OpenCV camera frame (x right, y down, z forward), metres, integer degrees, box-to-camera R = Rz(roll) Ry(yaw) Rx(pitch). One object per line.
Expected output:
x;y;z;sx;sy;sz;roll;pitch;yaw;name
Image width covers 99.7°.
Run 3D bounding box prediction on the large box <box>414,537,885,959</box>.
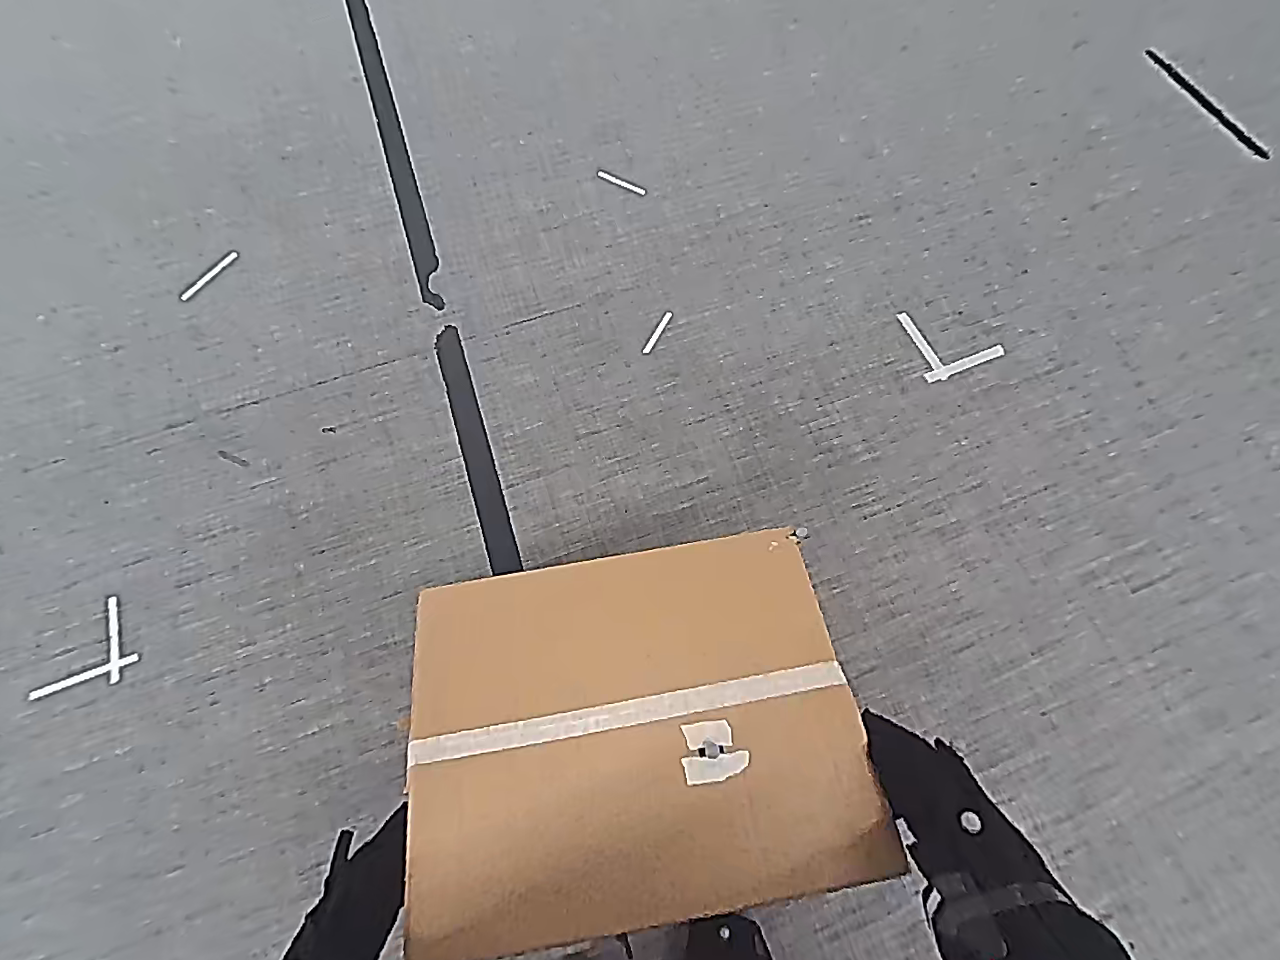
-0.006;0.304;0.645;0.408;0.320;0.320;-10;58;-2;large box
